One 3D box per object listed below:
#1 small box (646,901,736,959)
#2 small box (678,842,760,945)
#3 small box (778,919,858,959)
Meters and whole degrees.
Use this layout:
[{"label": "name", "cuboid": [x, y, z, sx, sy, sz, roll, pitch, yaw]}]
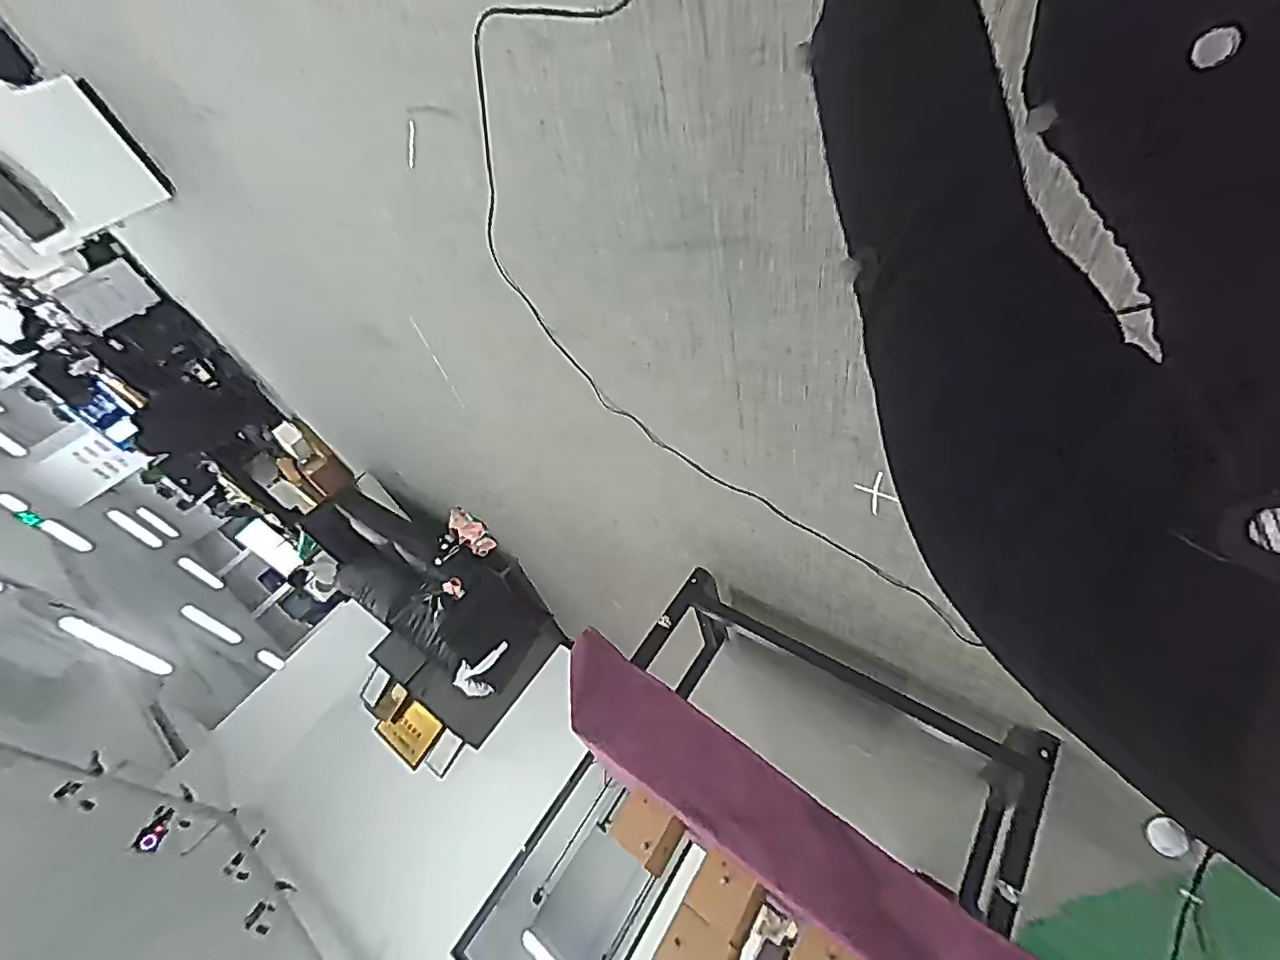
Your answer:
[{"label": "small box", "cuboid": [0.150, 1.346, 1.547, 0.179, 0.176, 0.168, 18, 146, 37]}, {"label": "small box", "cuboid": [0.244, 1.237, 1.625, 0.168, 0.176, 0.179, 17, 144, 38]}, {"label": "small box", "cuboid": [0.475, 1.328, 1.457, 0.179, 0.176, 0.168, 21, 147, 34]}]
